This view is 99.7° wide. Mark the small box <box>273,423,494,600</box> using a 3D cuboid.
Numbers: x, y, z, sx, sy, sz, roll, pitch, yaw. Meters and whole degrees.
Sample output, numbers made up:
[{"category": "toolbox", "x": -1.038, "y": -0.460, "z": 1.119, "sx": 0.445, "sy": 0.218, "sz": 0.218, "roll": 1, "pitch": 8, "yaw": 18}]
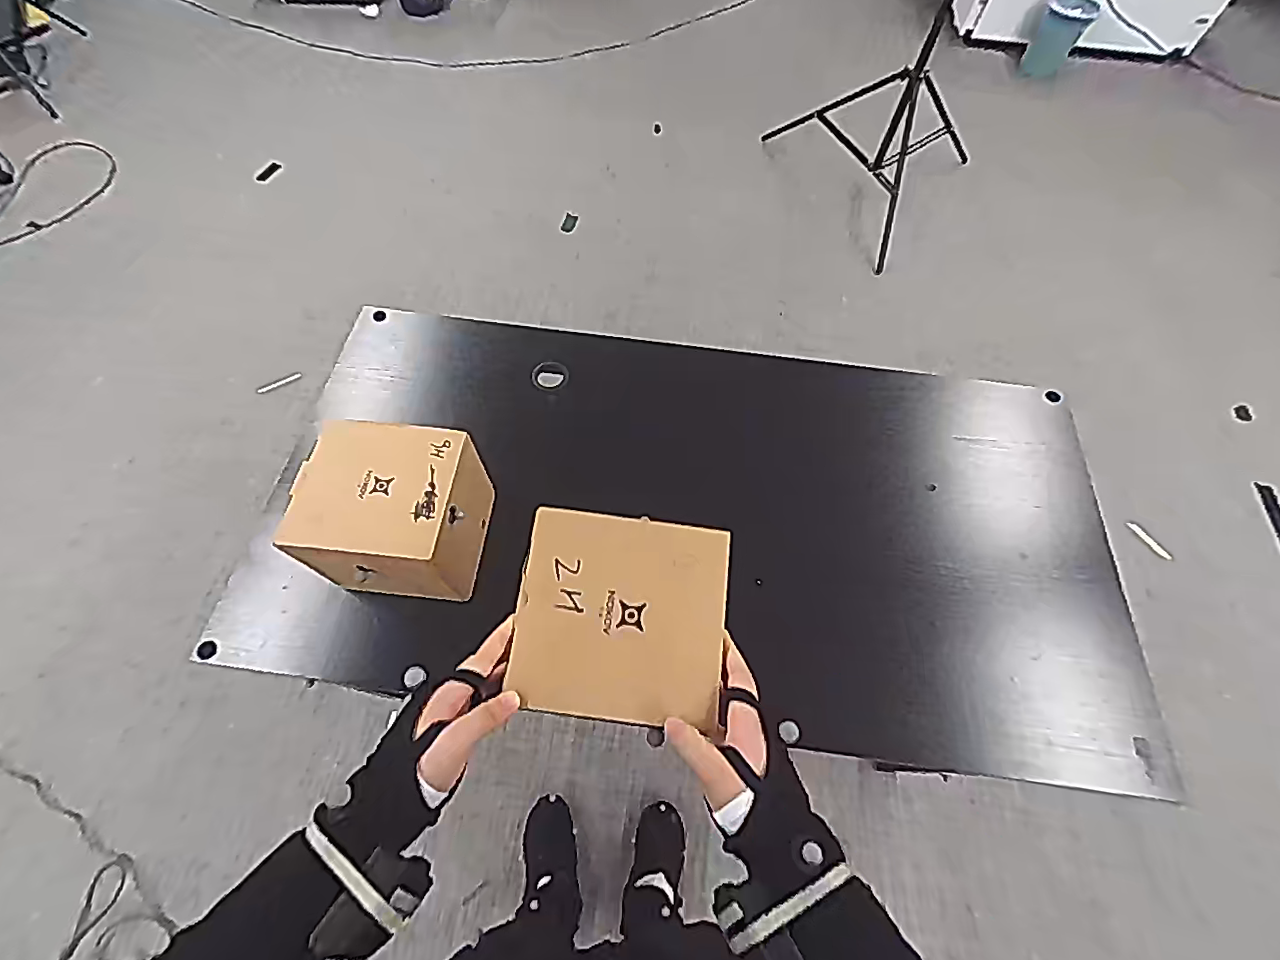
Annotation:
[{"category": "small box", "x": -0.303, "y": 0.047, "z": 0.685, "sx": 0.179, "sy": 0.176, "sz": 0.168, "roll": 5, "pitch": 62, "yaw": 1}]

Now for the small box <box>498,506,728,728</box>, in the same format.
[{"category": "small box", "x": -0.021, "y": 0.137, "z": 0.530, "sx": 0.179, "sy": 0.176, "sz": 0.168, "roll": 7, "pitch": 69, "yaw": 0}]
